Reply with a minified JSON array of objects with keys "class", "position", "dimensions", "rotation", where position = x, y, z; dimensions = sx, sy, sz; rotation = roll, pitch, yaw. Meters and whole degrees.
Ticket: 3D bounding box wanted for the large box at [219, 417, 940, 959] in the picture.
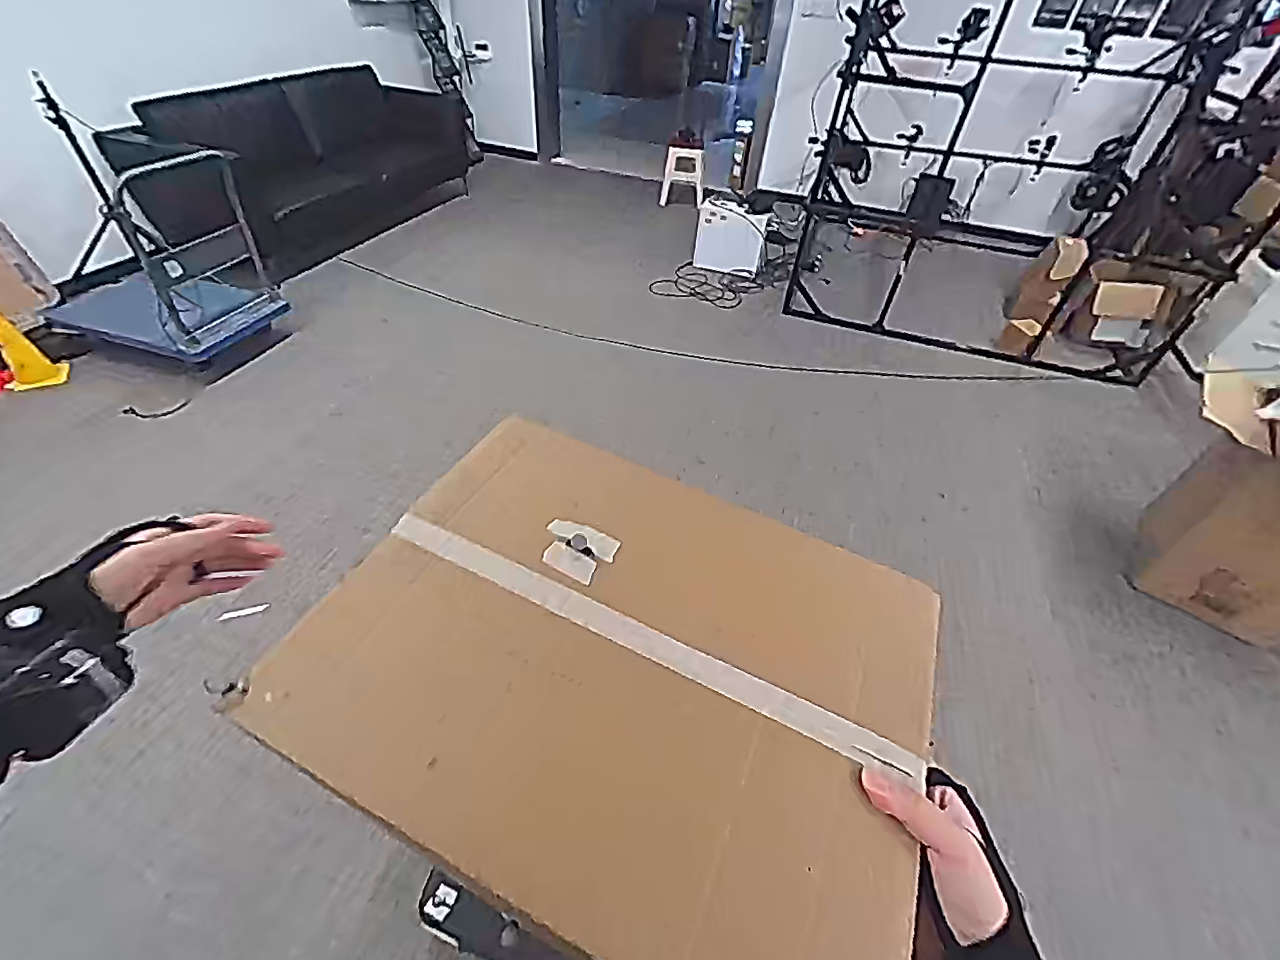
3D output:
[{"class":"large box","position":[-0.019,0.208,0.479],"dimensions":[0.408,0.320,0.320],"rotation":[23,49,14]}]
